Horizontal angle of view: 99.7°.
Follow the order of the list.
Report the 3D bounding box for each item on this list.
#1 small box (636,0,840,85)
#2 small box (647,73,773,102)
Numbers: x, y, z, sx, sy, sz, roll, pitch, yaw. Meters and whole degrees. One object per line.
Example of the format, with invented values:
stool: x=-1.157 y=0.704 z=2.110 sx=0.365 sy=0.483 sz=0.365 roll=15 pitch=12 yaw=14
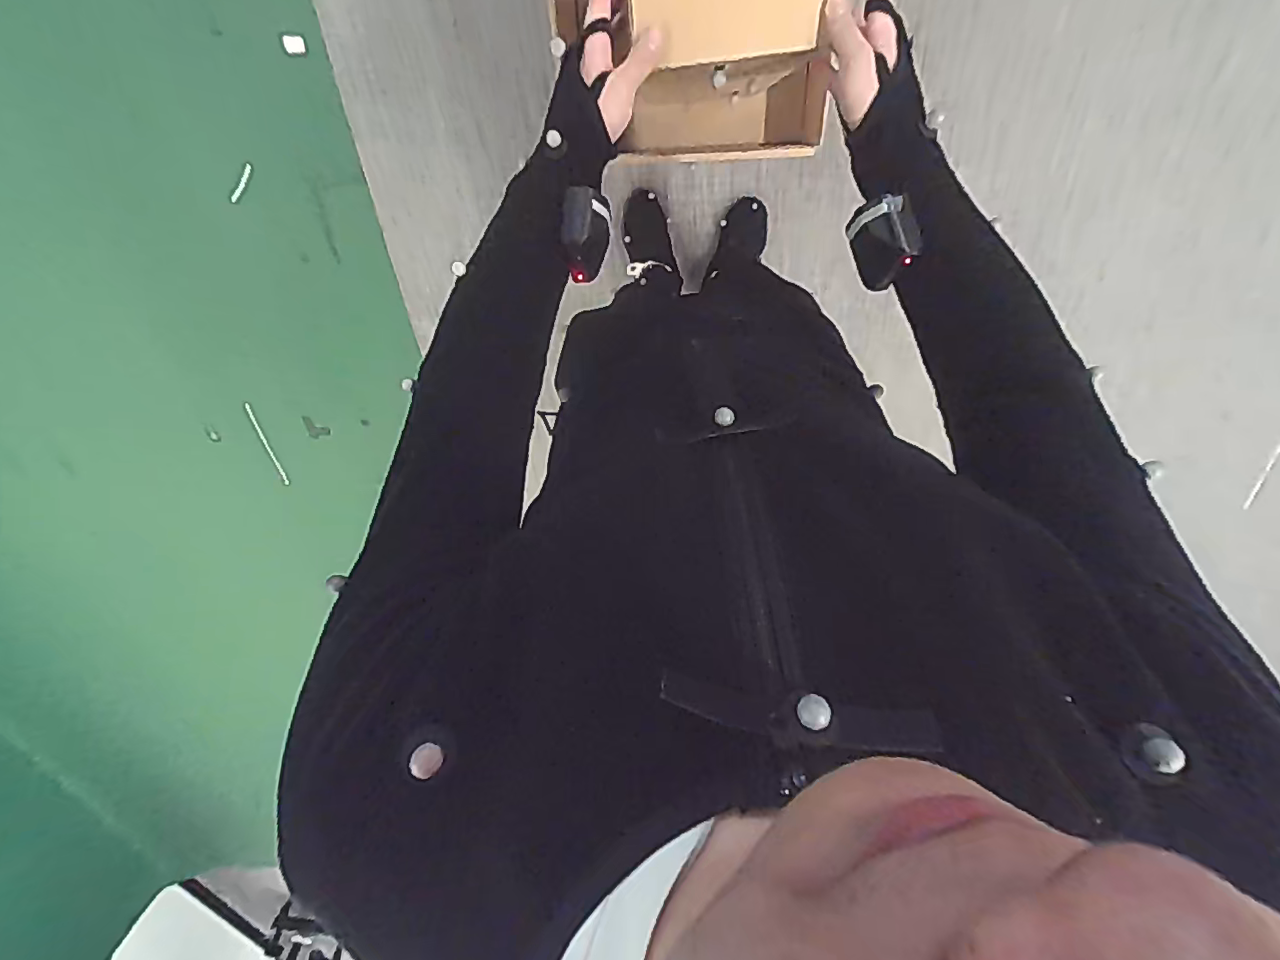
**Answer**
small box: x=0.083 y=-0.485 z=0.508 sx=0.179 sy=0.176 sz=0.168 roll=-3 pitch=122 yaw=5
small box: x=0.097 y=-0.658 z=0.783 sx=0.179 sy=0.176 sz=0.168 roll=-1 pitch=121 yaw=4
